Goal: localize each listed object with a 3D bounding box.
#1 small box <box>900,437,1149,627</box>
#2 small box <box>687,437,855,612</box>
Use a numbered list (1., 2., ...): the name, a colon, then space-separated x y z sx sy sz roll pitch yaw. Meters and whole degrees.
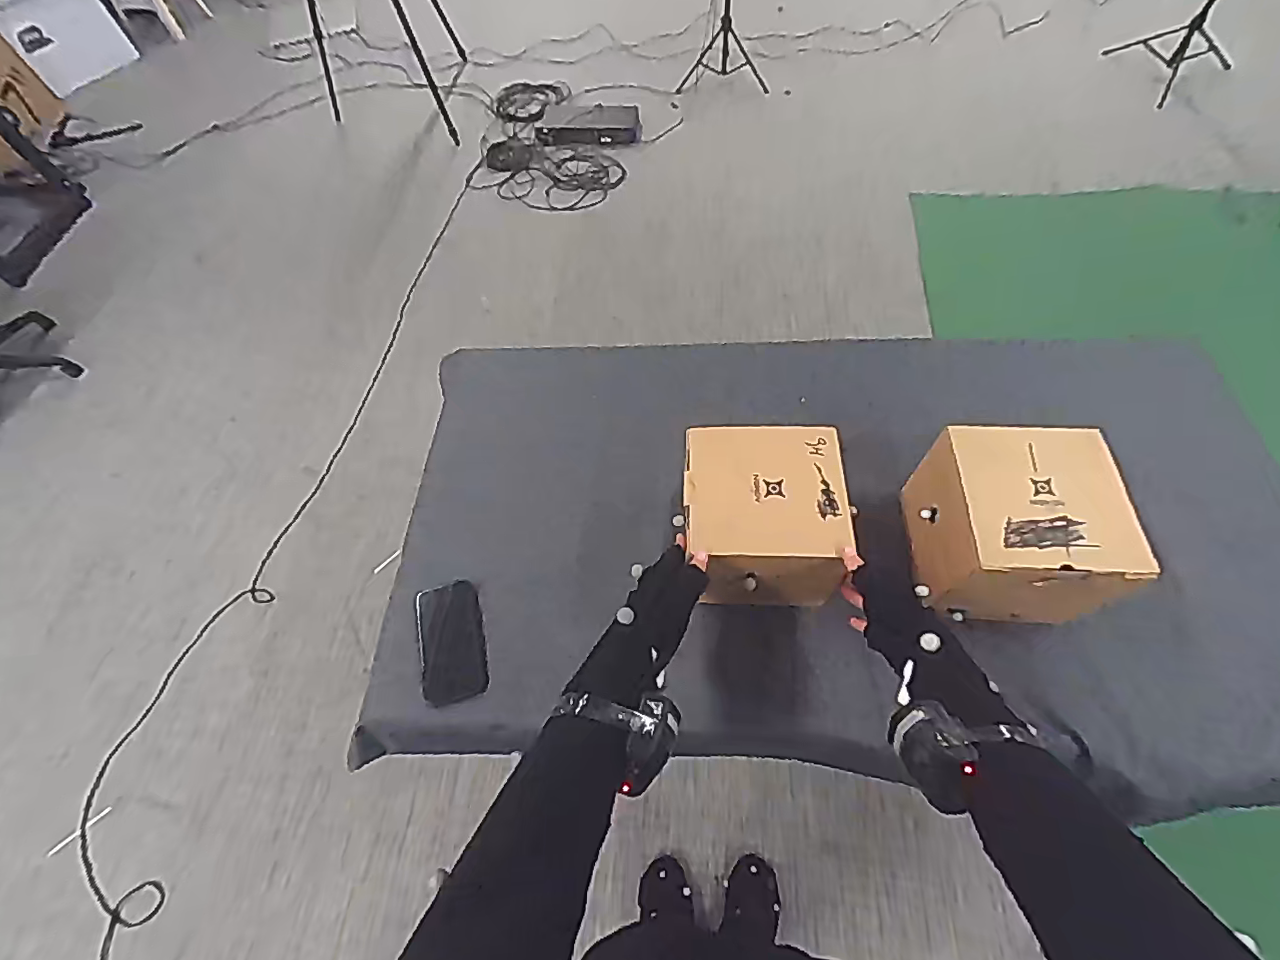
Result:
1. small box: 0.433 0.067 0.649 0.168 0.176 0.179 2 59 6
2. small box: 0.149 0.061 0.676 0.179 0.176 0.168 0 59 5
